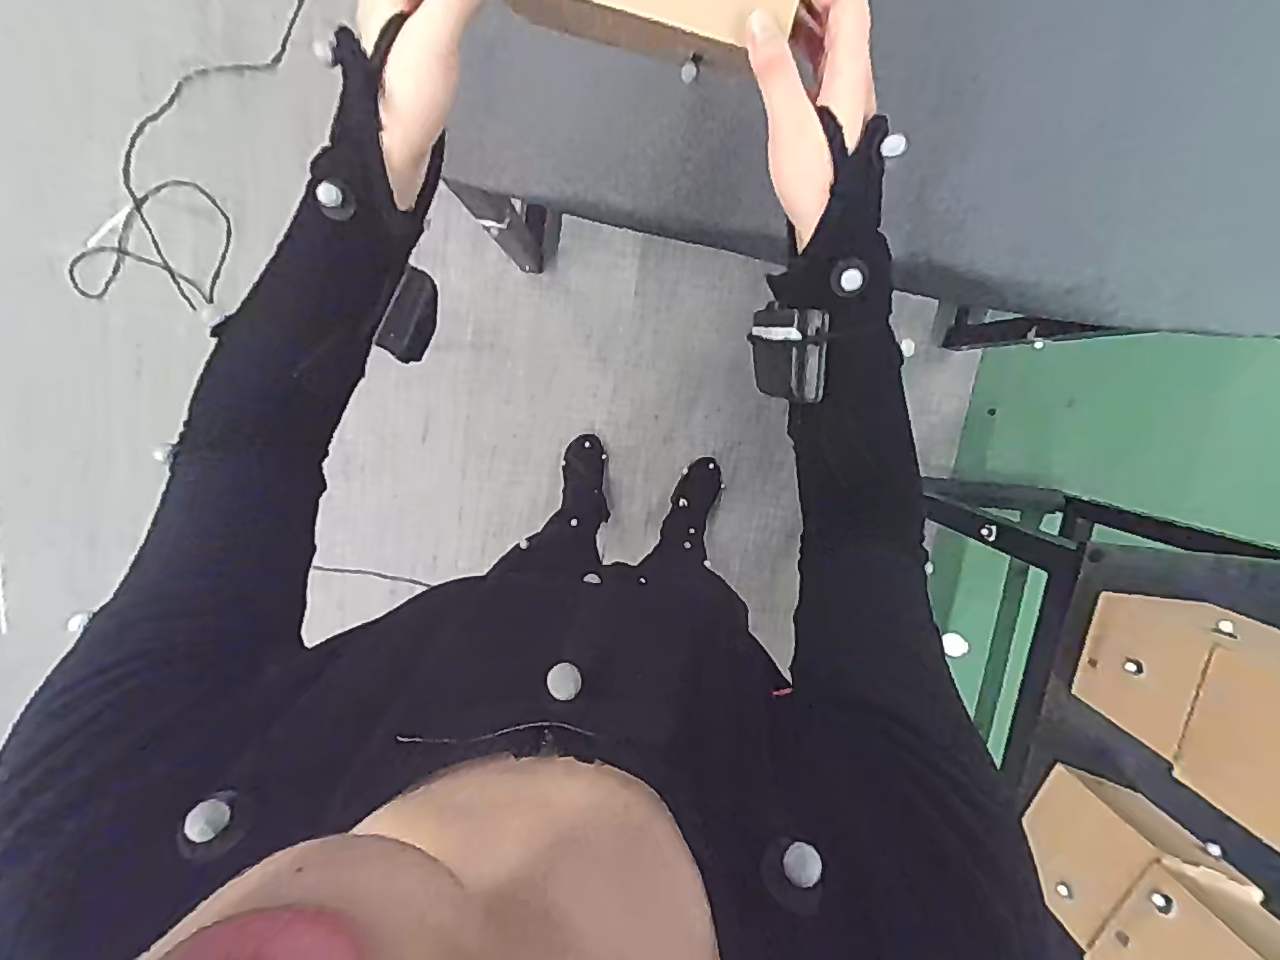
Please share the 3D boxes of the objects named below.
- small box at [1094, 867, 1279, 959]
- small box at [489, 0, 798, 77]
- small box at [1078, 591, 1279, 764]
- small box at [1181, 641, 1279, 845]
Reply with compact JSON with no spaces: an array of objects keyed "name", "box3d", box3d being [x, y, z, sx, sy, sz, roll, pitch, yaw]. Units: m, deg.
[{"name":"small box","box3d":[0.686,0.591,0.613,0.179,0.176,0.168,25,99,-7]},{"name":"small box","box3d":[0.008,-0.352,0.309,0.179,0.176,0.168,10,121,-6]},{"name":"small box","box3d":[0.745,0.259,0.720,0.179,0.176,0.168,7,101,-4]},{"name":"small box","box3d":[0.734,0.293,0.561,0.168,0.176,0.179,7,100,-3]}]
